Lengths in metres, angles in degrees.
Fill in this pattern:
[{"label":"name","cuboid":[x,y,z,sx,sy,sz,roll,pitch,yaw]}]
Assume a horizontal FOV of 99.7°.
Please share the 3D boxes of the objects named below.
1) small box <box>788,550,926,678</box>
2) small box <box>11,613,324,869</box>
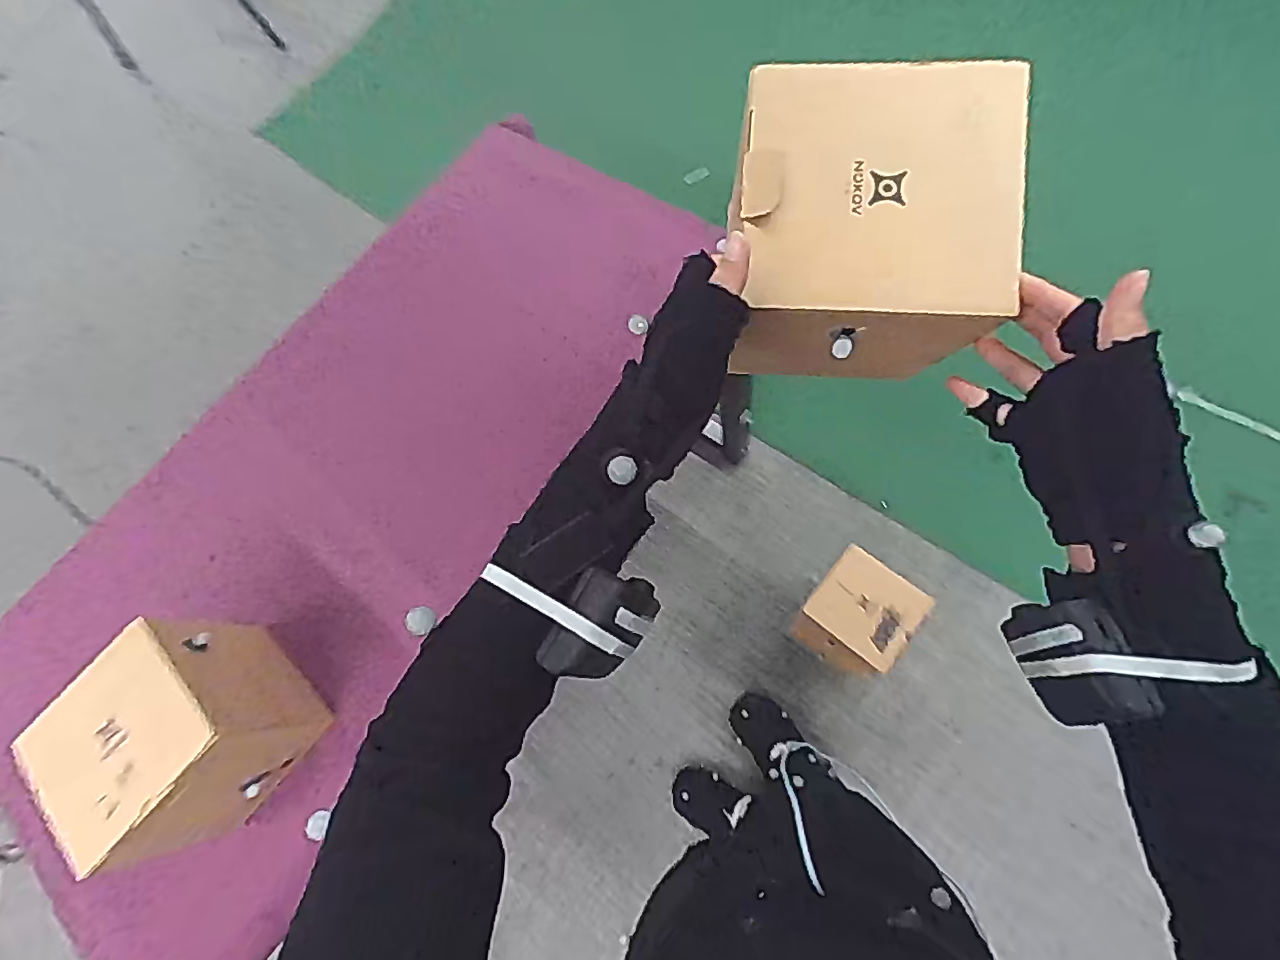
[{"label":"small box","cuboid":[0.417,0.265,1.070,0.179,0.176,0.168,39,81,20]},{"label":"small box","cuboid":[-0.512,0.277,0.609,0.179,0.176,0.168,39,81,18]}]
